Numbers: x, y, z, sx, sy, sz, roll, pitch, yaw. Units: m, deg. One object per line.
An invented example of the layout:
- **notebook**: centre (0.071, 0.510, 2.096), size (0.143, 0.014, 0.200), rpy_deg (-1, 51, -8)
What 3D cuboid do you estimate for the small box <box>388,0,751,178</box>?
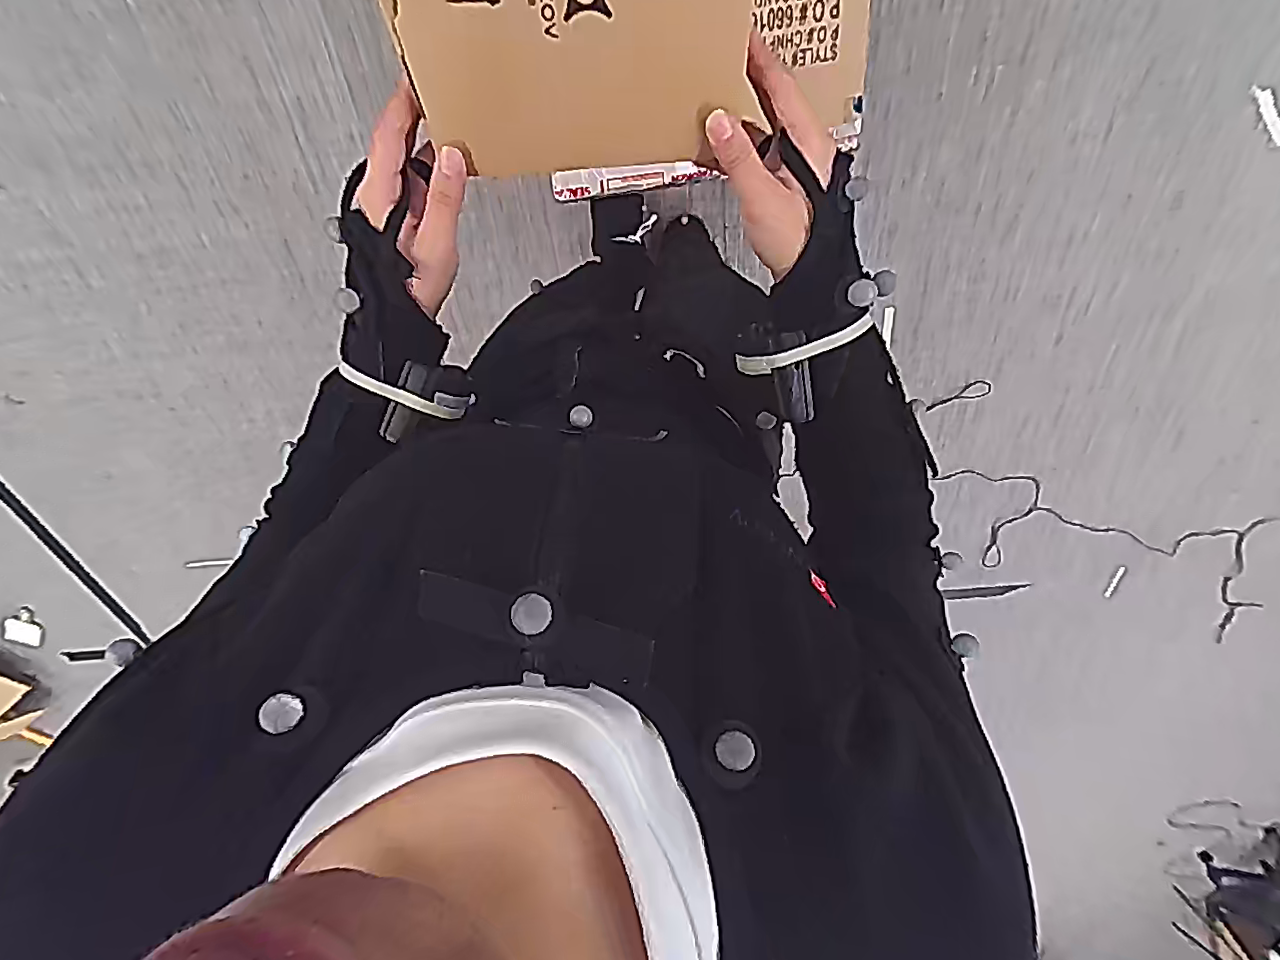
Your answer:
- **small box**: centre (-0.036, -0.297, 0.298), size (0.179, 0.176, 0.168), rpy_deg (-3, 147, 1)
